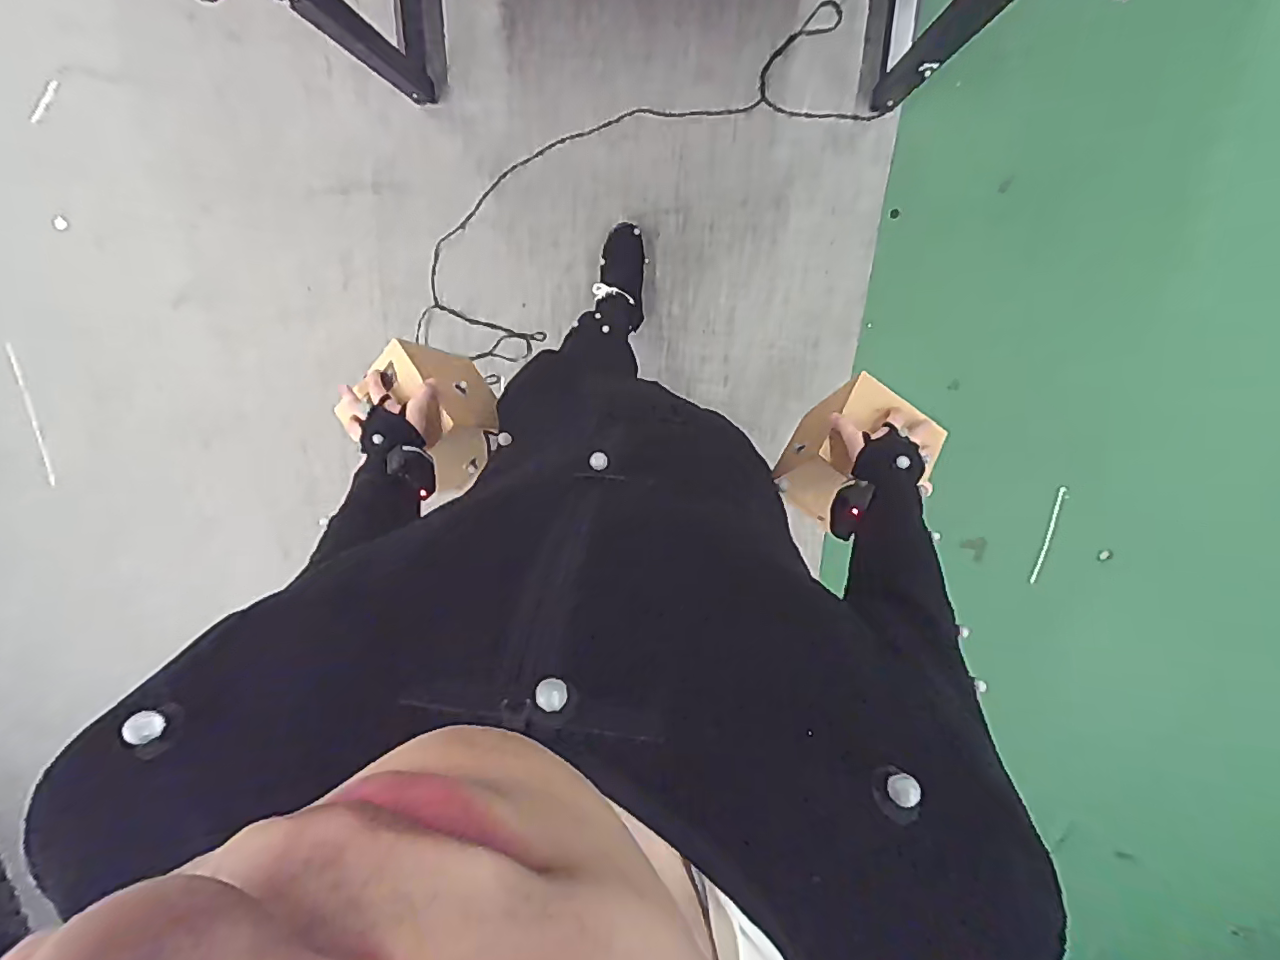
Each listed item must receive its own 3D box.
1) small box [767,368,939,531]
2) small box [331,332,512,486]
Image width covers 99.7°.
[{"bbox_3d":[0.330,-0.038,0.871,0.168,0.176,0.179,36,68,-3],"label":"small box"},{"bbox_3d":[-0.347,-0.106,0.879,0.168,0.176,0.179,-41,78,18],"label":"small box"}]
